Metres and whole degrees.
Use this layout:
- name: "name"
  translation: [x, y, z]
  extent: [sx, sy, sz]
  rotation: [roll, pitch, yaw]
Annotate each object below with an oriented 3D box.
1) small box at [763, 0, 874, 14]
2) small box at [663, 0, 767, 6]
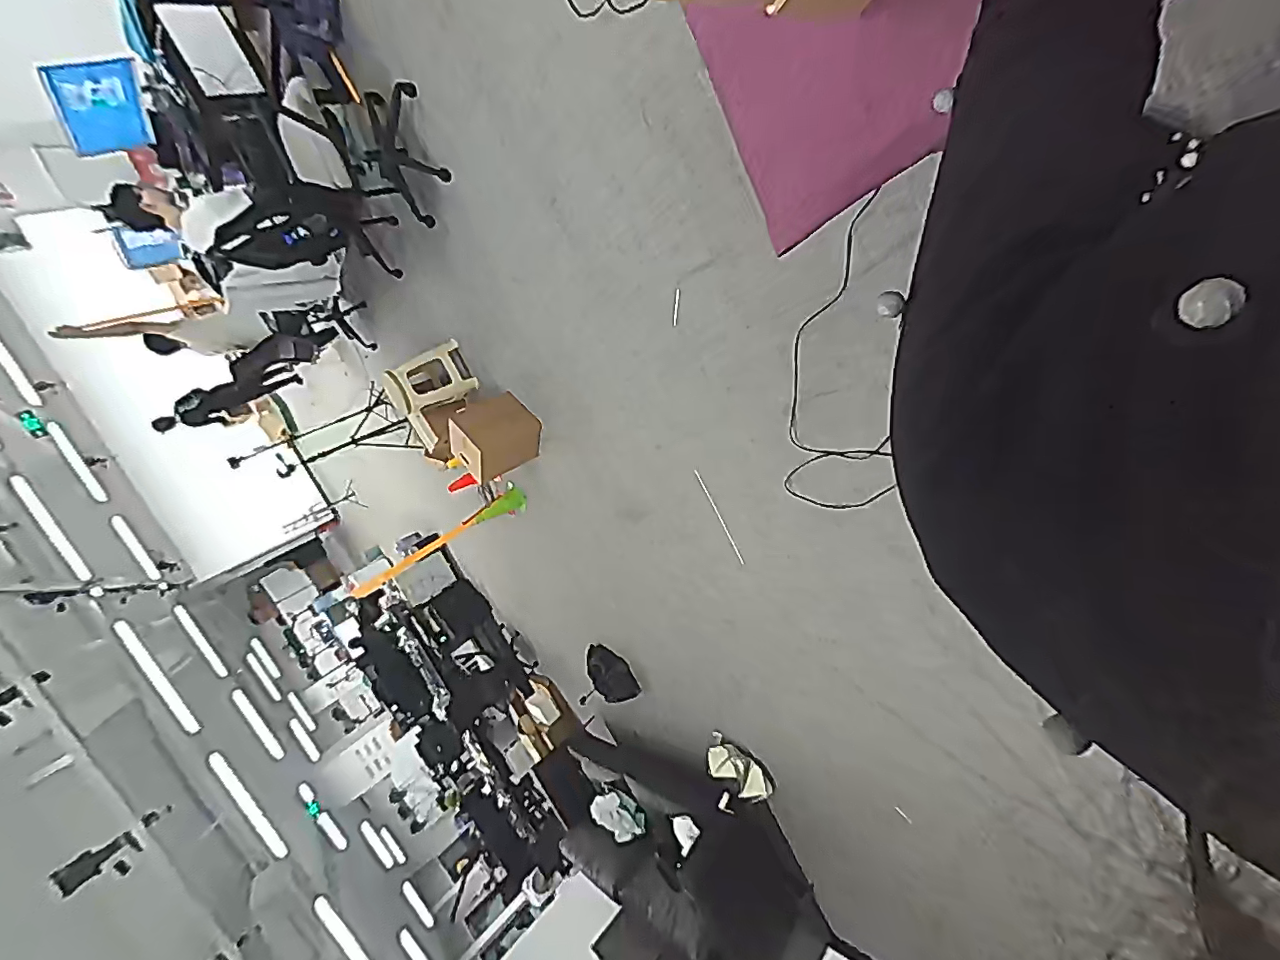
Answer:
- name: "small box"
  translation: [0.186, -0.579, 0.501]
  extent: [0.168, 0.176, 0.179]
  rotation: [-24, 98, 57]
- name: "small box"
  translation: [0.070, -0.509, 0.403]
  extent: [0.179, 0.176, 0.168]
  rotation: [-20, 99, 56]
